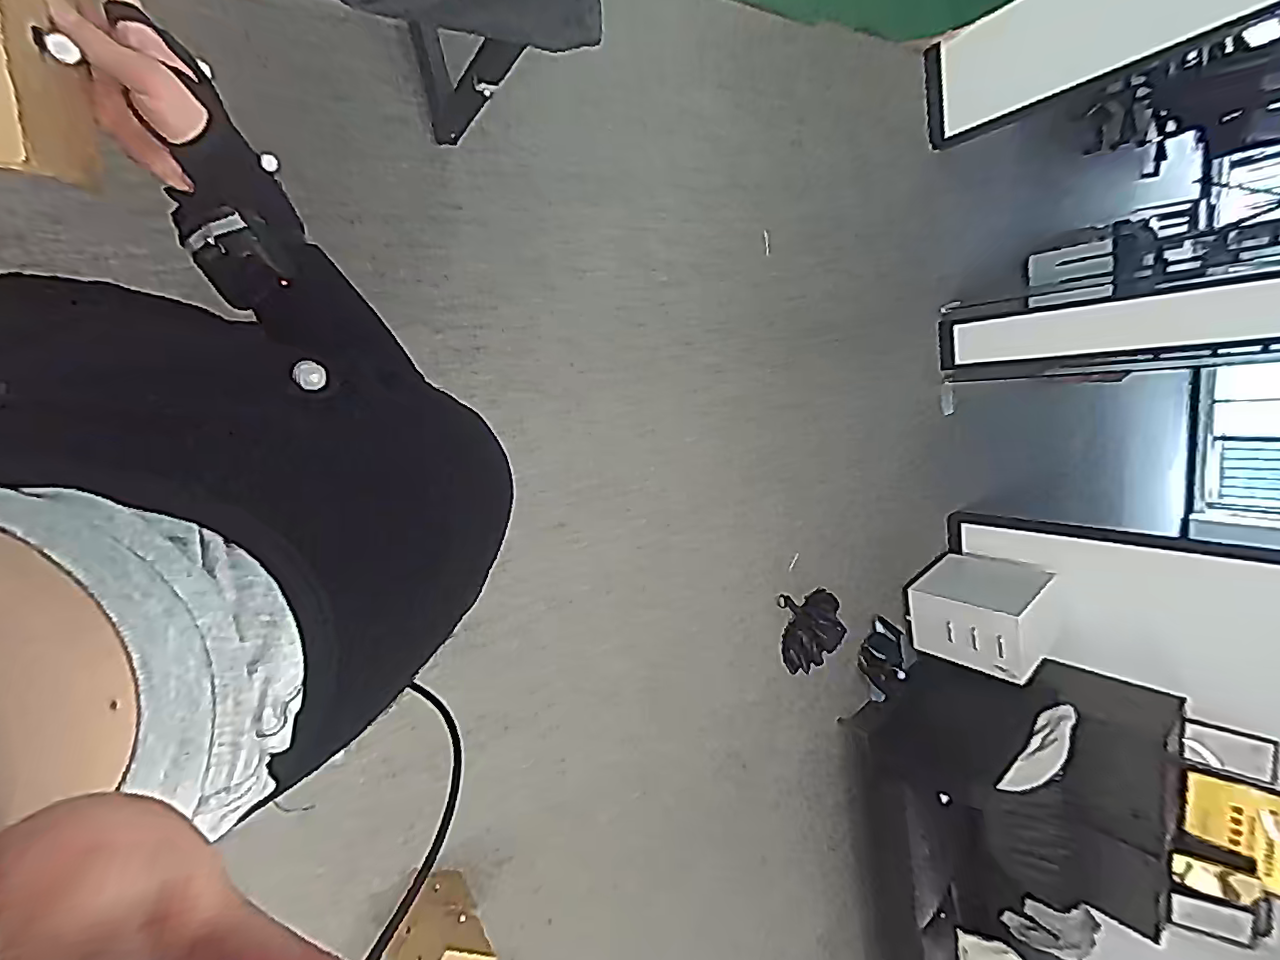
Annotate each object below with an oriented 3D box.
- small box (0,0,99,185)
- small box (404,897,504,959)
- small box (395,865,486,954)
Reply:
[{"bbox_3d":[-0.412,-0.261,0.270,0.168,0.176,0.179,-5,116,-34],"label":"small box"},{"bbox_3d":[-0.495,1.255,1.422,0.168,0.176,0.179,41,69,-32],"label":"small box"},{"bbox_3d":[-0.581,1.254,1.563,0.168,0.176,0.179,32,76,-34],"label":"small box"}]
